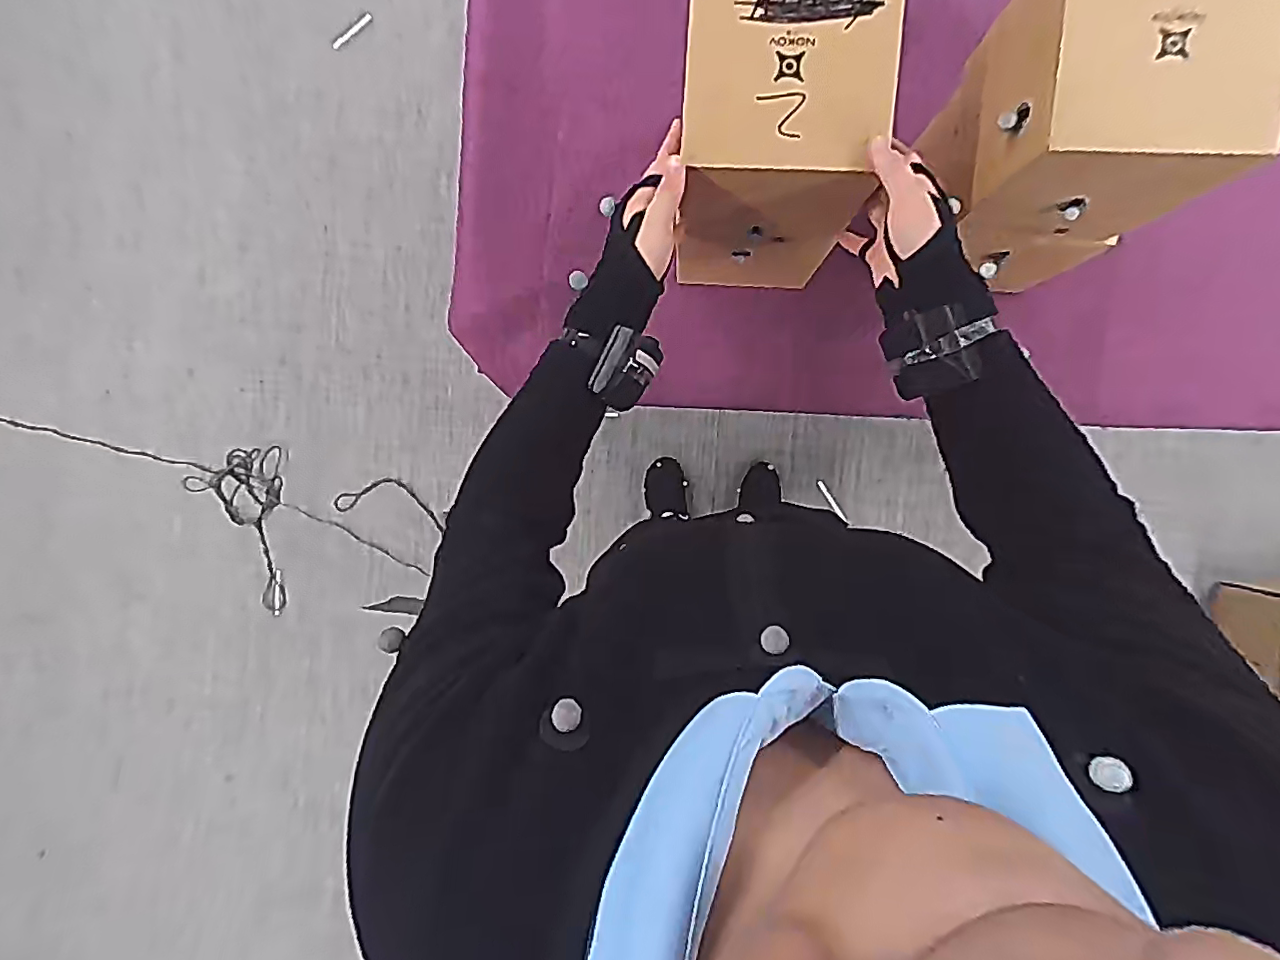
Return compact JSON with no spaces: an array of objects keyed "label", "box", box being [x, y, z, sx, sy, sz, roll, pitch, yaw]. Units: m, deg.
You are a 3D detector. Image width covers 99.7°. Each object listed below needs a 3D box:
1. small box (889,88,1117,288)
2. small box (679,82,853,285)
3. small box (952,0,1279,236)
[{"label":"small box","box":[0.426,-0.338,0.648,0.179,0.176,0.168,5,93,5]},{"label":"small box","box":[0.141,-0.349,0.667,0.179,0.176,0.168,4,94,3]},{"label":"small box","box":[0.407,-0.337,0.483,0.168,0.176,0.179,5,93,4]}]
